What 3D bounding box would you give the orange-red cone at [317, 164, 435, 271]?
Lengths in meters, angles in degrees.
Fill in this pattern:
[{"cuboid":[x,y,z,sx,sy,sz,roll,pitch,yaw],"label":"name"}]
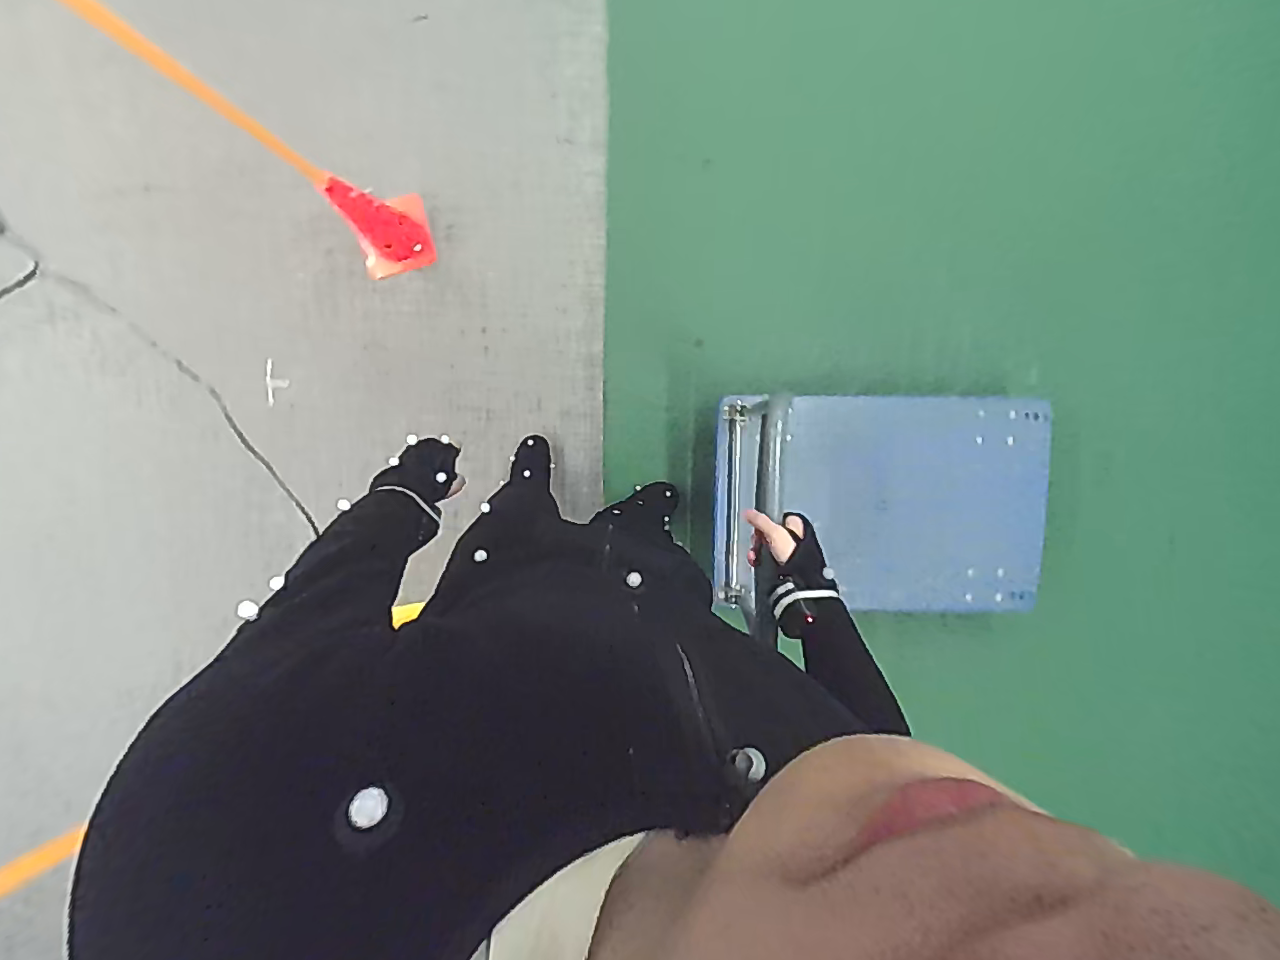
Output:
[{"cuboid":[-0.694,-0.692,1.363,0.198,0.360,0.199,-14,94,1],"label":"orange-red cone"}]
